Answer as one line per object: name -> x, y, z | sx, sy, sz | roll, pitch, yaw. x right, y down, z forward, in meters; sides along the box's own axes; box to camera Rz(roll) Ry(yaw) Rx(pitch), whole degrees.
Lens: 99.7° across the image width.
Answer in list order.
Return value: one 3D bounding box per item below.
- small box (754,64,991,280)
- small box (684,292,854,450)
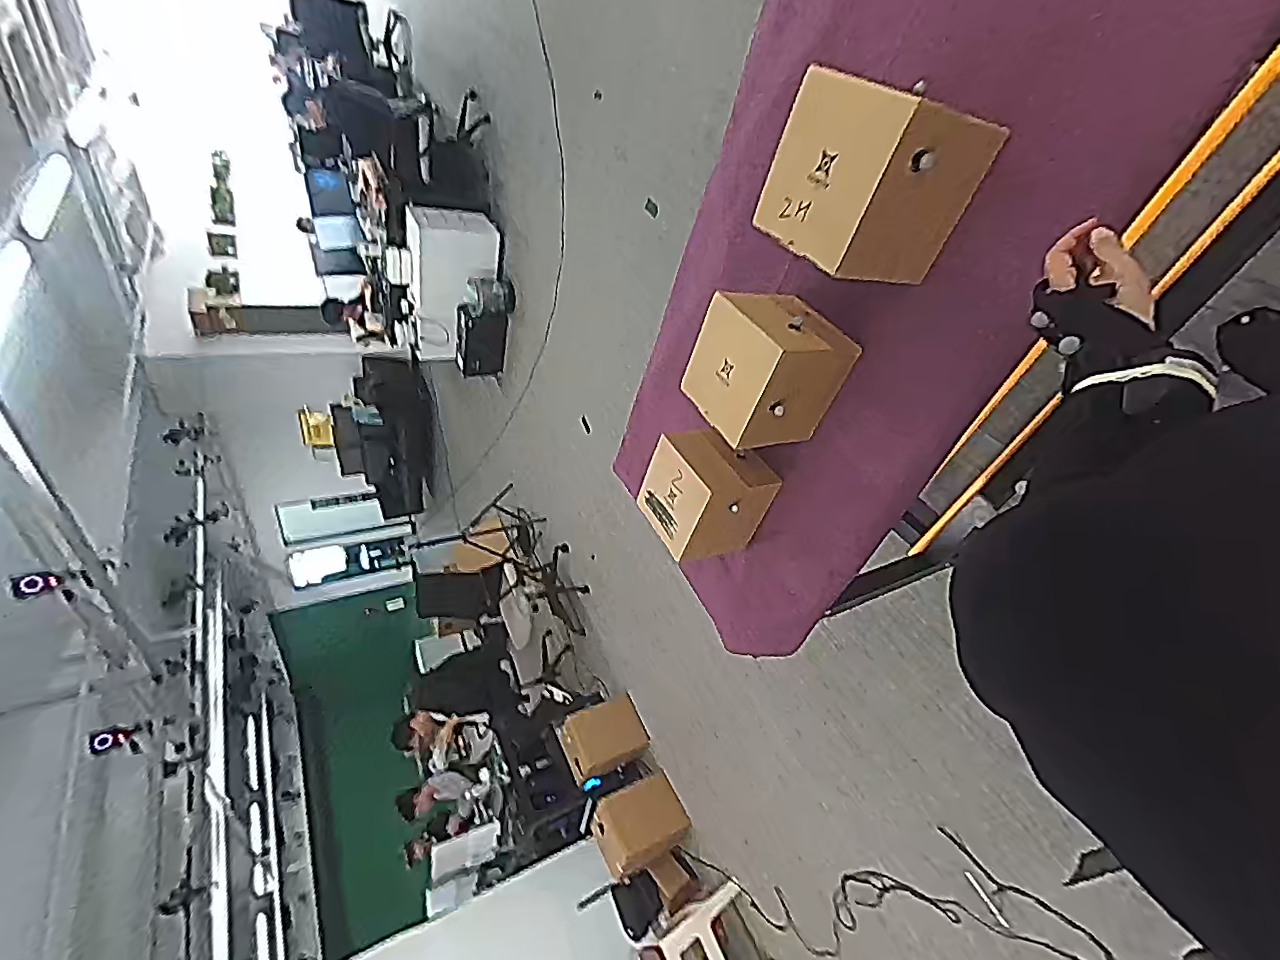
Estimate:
small box -> 0.275, -0.359, 0.649 | 0.168, 0.176, 0.179 | 57, 143, 38
small box -> 0.200, -0.173, 0.842 | 0.168, 0.176, 0.179 | 56, 143, 36
